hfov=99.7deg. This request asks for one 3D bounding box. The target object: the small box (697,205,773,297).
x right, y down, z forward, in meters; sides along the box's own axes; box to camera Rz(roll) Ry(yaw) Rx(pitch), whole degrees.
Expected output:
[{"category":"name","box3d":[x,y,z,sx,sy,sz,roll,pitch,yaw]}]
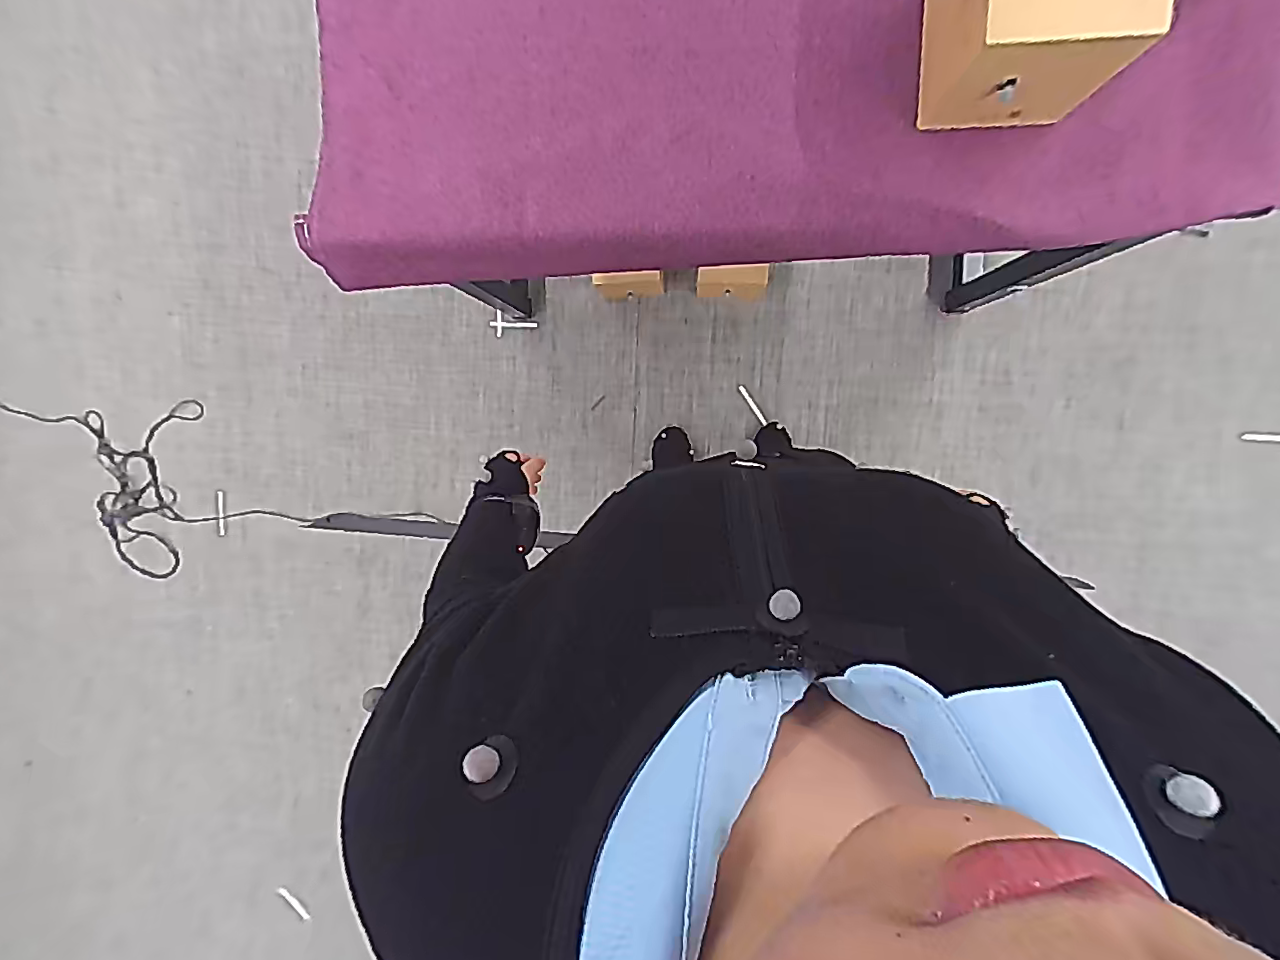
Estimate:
[{"category":"small box","box3d":[0.231,-0.560,1.342,0.168,0.176,0.179,4,96,5]}]

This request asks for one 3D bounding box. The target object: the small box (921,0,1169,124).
[{"category":"small box","box3d":[0.426,-0.517,0.590,0.168,0.176,0.179,1,96,6]}]
